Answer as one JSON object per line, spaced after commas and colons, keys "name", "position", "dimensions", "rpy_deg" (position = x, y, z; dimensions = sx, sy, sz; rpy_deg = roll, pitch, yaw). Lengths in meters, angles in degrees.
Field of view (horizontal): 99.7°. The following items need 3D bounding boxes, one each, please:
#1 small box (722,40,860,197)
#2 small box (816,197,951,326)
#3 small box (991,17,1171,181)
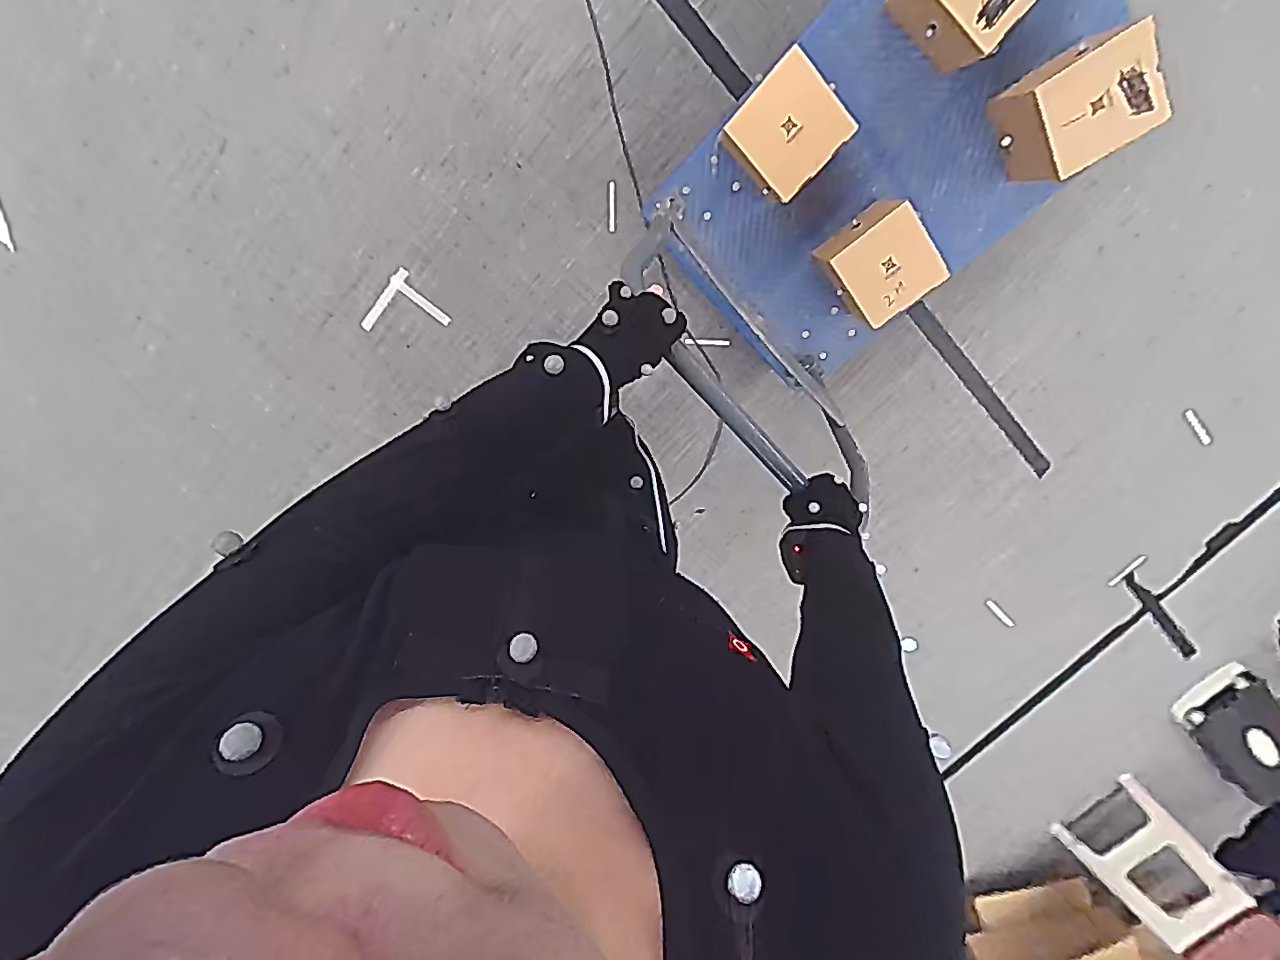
{"name": "small box", "position": [0.271, -0.660, 1.013], "dimensions": [0.179, 0.176, 0.168], "rpy_deg": [40, 114, -18]}
{"name": "small box", "position": [0.487, -0.448, 1.109], "dimensions": [0.168, 0.176, 0.179], "rpy_deg": [-36, 111, 20]}
{"name": "small box", "position": [0.779, -0.667, 0.970], "dimensions": [0.179, 0.176, 0.168], "rpy_deg": [-28, 113, 19]}
